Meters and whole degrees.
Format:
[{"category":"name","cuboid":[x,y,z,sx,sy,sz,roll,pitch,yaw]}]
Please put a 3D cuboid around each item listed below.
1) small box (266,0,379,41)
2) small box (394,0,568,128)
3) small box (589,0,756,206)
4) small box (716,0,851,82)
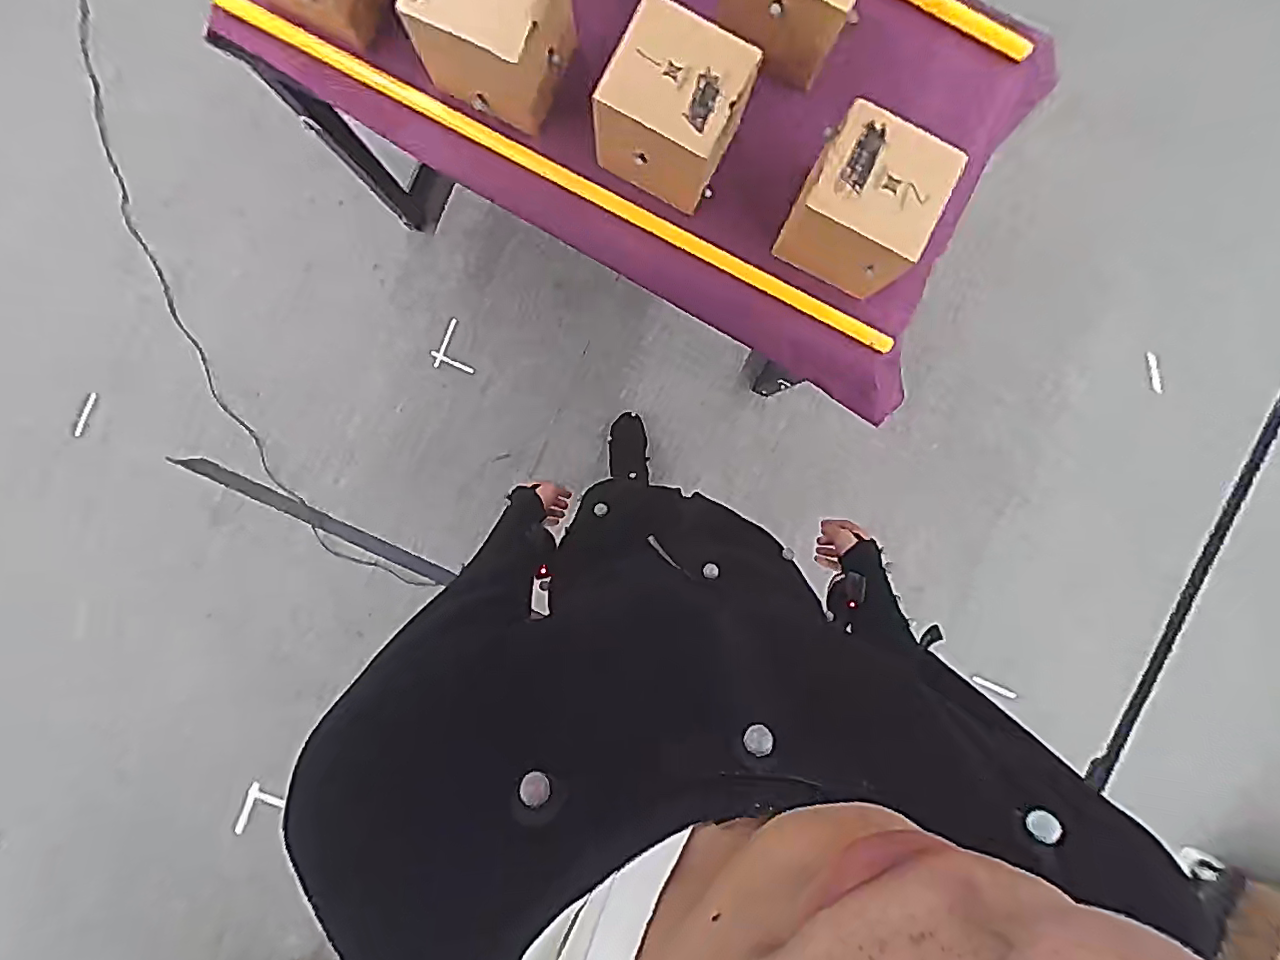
[{"category":"small box","cuboid":[-0.482,-0.791,0.776,0.179,0.176,0.168,25,92,-5]},{"category":"small box","cuboid":[-0.217,-0.662,0.792,0.179,0.176,0.168,24,92,-3]},{"category":"small box","cuboid":[0.042,-0.543,0.804,0.179,0.176,0.168,28,90,-1]},{"category":"small box","cuboid":[0.230,-0.742,0.799,0.179,0.176,0.168,26,93,-2]}]
